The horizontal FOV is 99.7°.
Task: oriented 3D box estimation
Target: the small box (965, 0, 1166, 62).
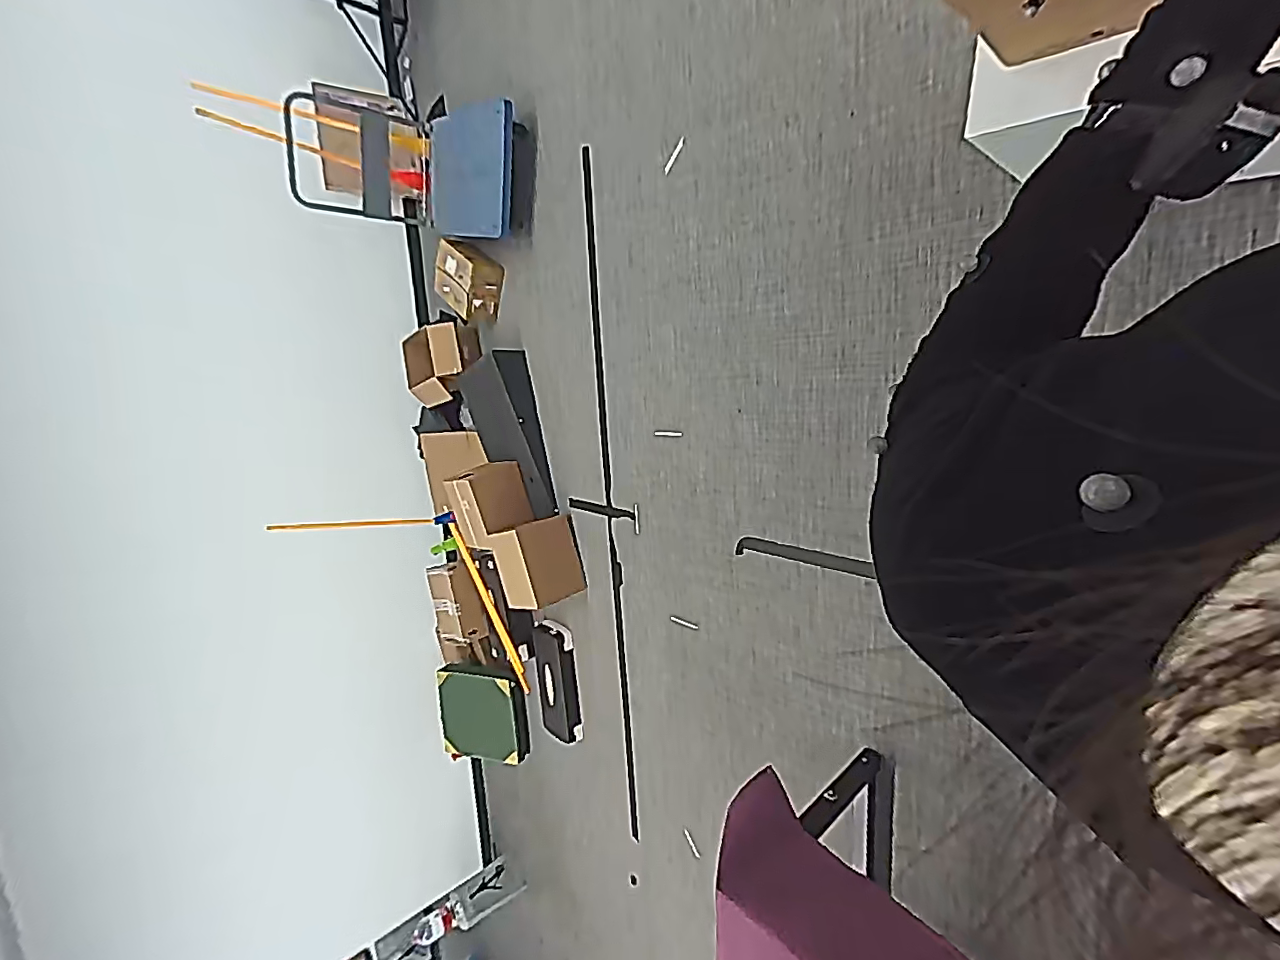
[{"bbox_3d":[0.497,-0.626,0.611,0.168,0.176,0.179,17,110,46],"label":"small box"}]
